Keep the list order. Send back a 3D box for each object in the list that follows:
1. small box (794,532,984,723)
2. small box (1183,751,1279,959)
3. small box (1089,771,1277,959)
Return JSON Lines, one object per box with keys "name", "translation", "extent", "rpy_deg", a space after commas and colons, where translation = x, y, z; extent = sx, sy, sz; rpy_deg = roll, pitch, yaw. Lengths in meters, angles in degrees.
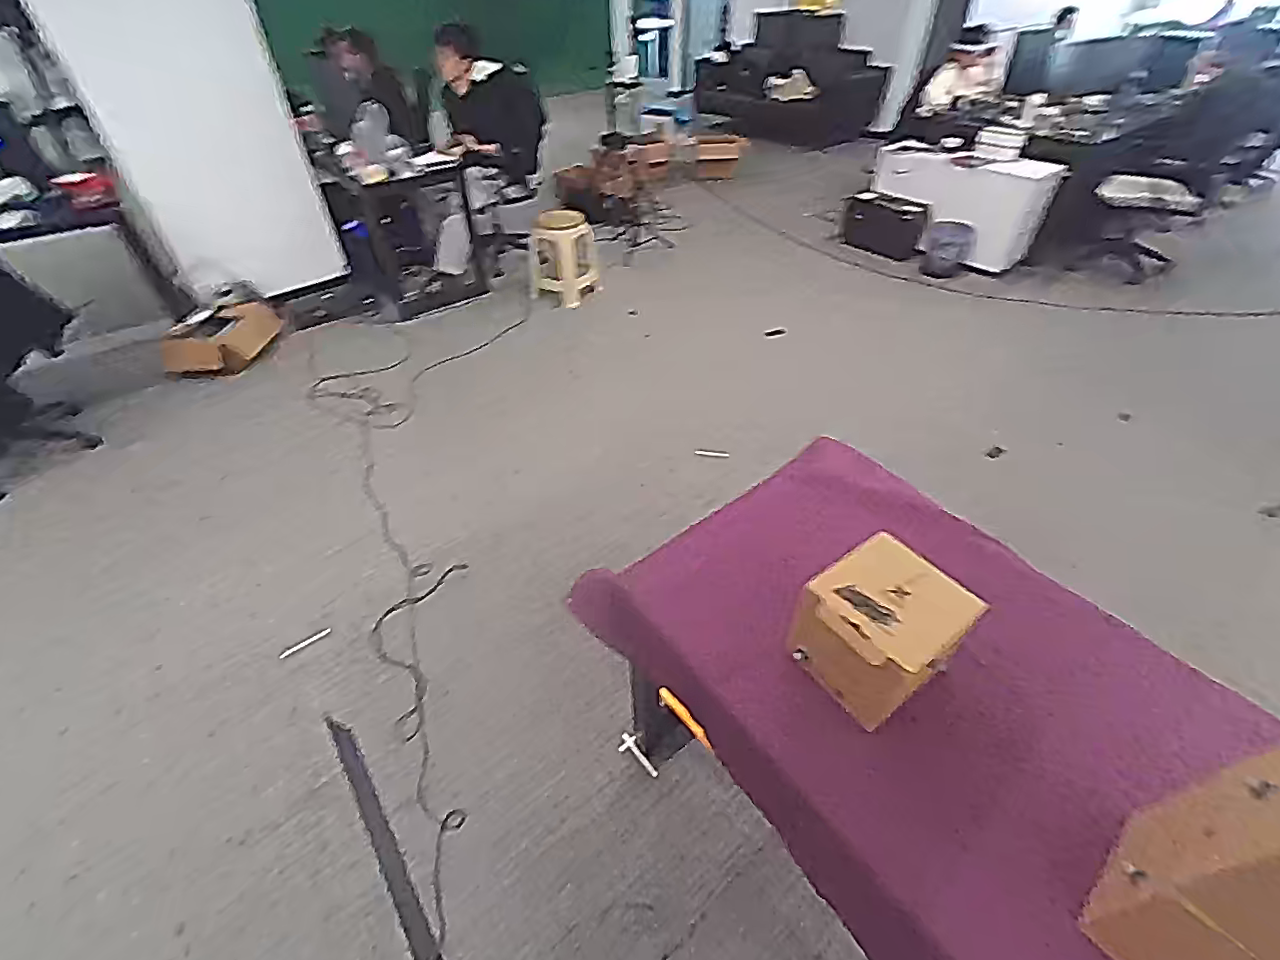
{"name": "small box", "translation": [0.345, 0.214, 0.785], "extent": [0.179, 0.176, 0.168], "rpy_deg": [-26, 49, -25]}
{"name": "small box", "translation": [0.605, 0.325, 0.428], "extent": [0.168, 0.176, 0.179], "rpy_deg": [-29, 51, -25]}
{"name": "small box", "translation": [0.605, 0.444, 0.541], "extent": [0.179, 0.176, 0.168], "rpy_deg": [-29, 51, -27]}
